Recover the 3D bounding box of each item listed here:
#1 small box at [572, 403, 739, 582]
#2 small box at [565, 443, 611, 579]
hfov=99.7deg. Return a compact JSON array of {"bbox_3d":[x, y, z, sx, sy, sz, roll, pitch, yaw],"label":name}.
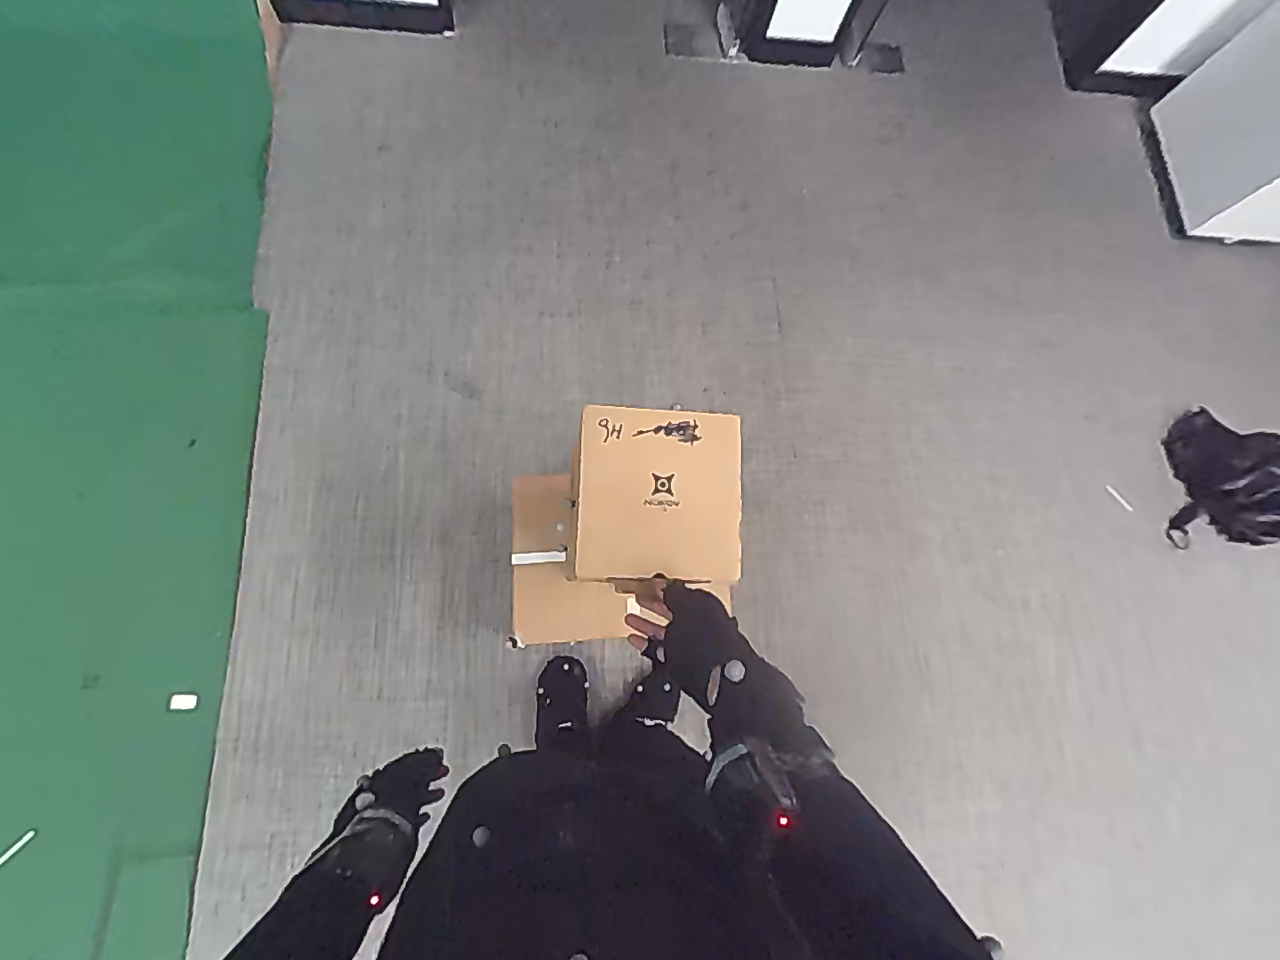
[{"bbox_3d":[0.009,0.023,0.625,0.168,0.176,0.179,3,82,-8],"label":"small box"},{"bbox_3d":[-0.022,0.052,0.783,0.168,0.176,0.179,1,80,-9],"label":"small box"}]
